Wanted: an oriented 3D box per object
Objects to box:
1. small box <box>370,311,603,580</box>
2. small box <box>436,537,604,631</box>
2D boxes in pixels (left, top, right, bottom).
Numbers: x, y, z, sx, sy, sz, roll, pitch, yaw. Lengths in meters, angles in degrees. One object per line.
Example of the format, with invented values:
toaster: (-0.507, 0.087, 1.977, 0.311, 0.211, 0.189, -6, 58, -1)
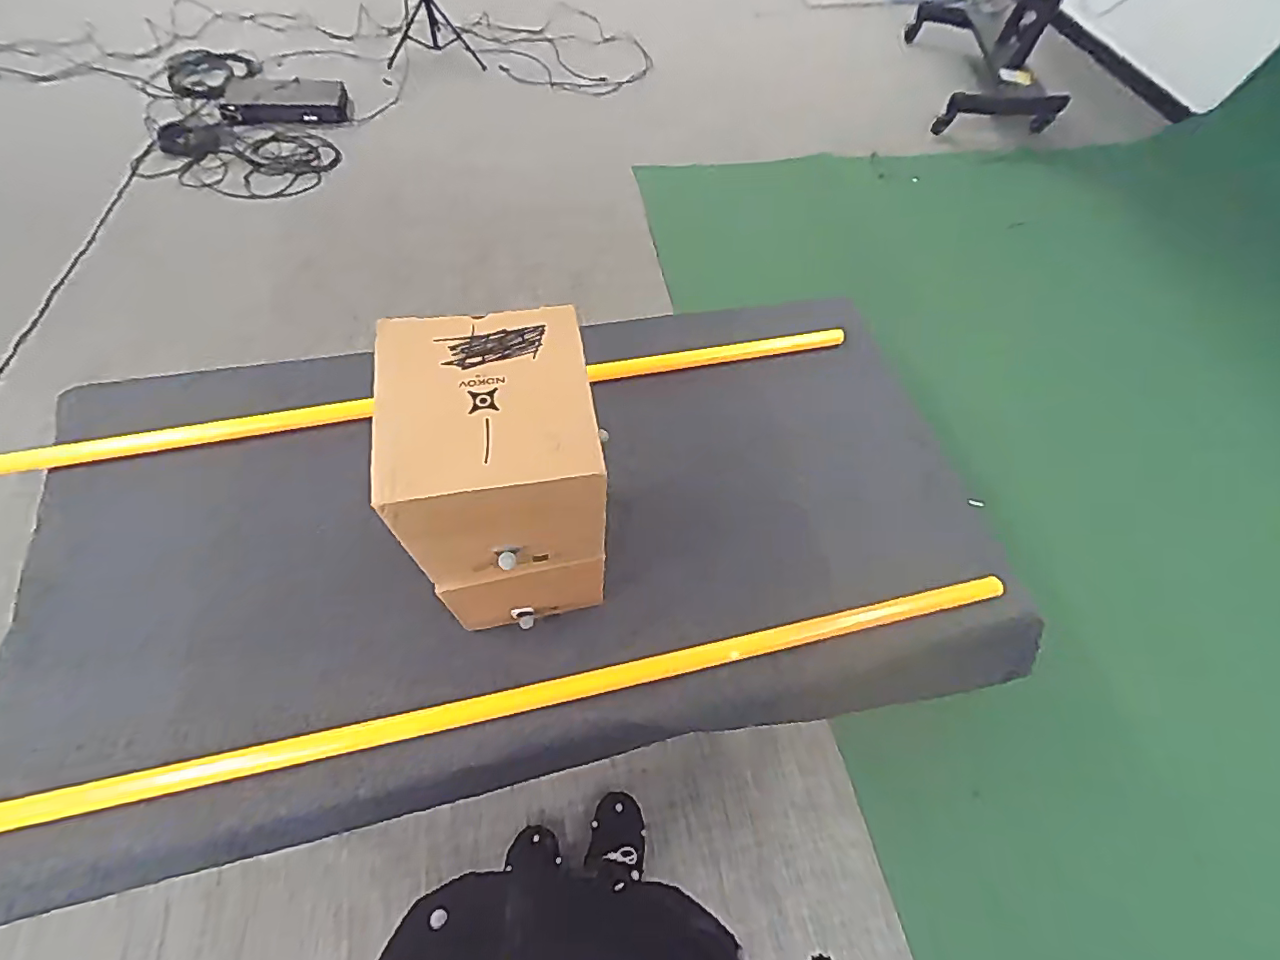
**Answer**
small box: (-0.129, -0.027, 0.496, 0.168, 0.176, 0.179, -8, 62, -9)
small box: (-0.142, 0.058, 0.637, 0.168, 0.176, 0.179, -11, 63, -10)
